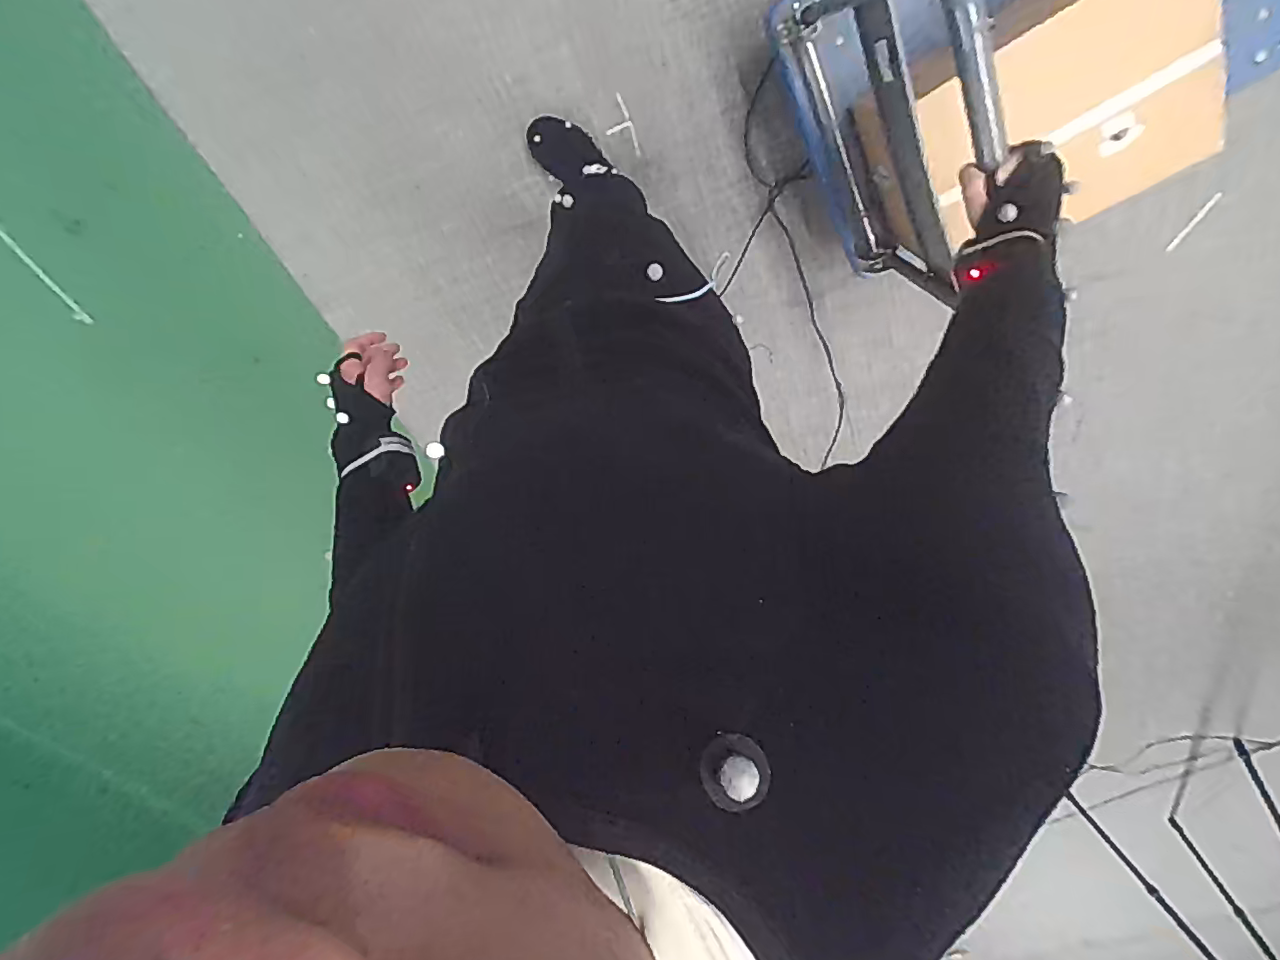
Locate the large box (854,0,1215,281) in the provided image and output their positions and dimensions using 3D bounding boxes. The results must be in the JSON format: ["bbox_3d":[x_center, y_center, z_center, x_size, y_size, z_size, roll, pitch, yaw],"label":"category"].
[{"bbox_3d":[0.668,-0.634,0.972,0.408,0.320,0.320,-26,121,19],"label":"large box"}]
